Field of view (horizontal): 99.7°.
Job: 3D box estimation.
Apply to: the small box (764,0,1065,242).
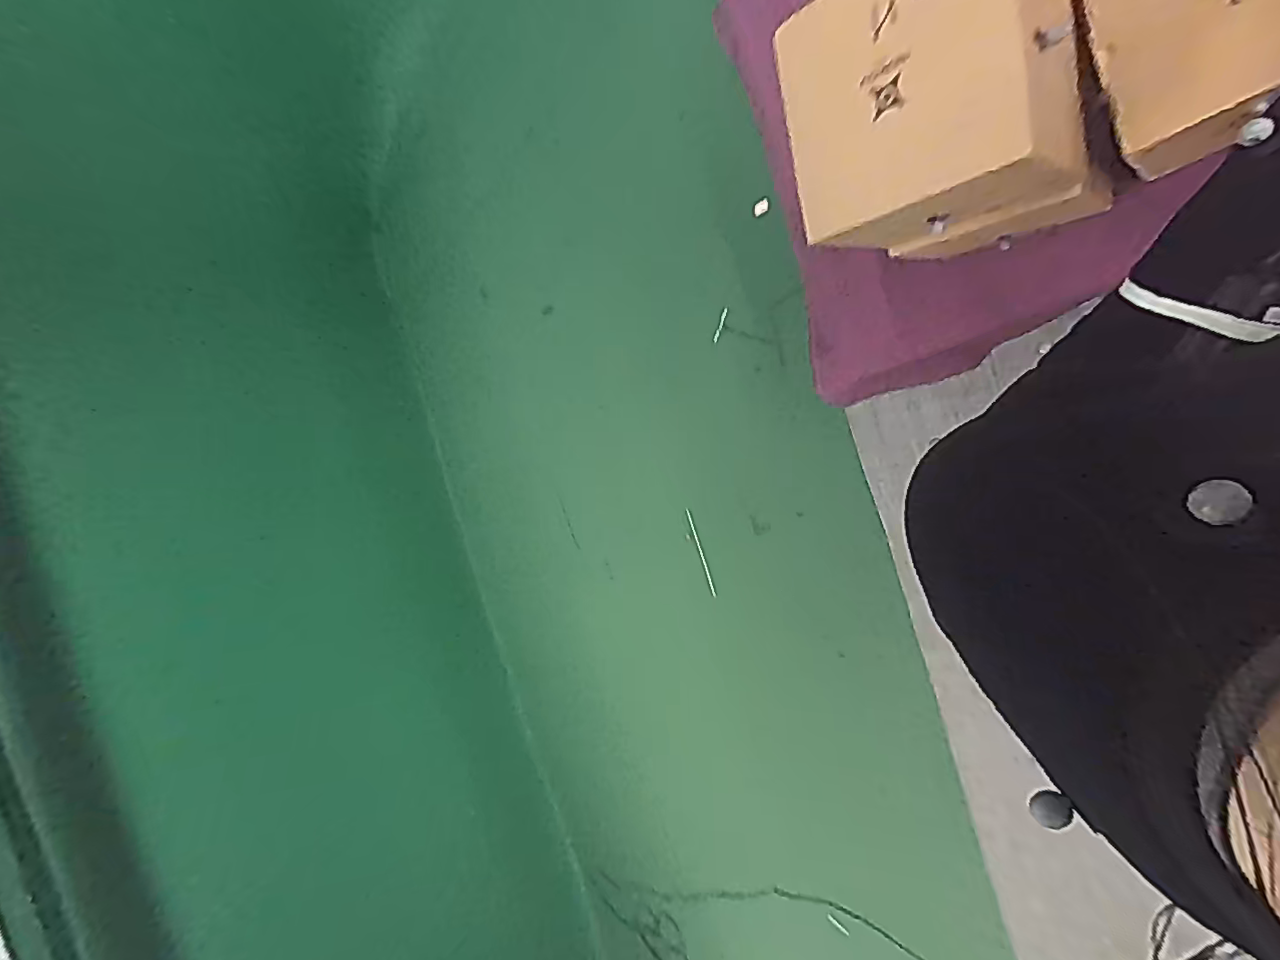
[{"bbox_3d":[0.231,-0.313,0.449,0.168,0.176,0.179,-3,103,48],"label":"small box"}]
